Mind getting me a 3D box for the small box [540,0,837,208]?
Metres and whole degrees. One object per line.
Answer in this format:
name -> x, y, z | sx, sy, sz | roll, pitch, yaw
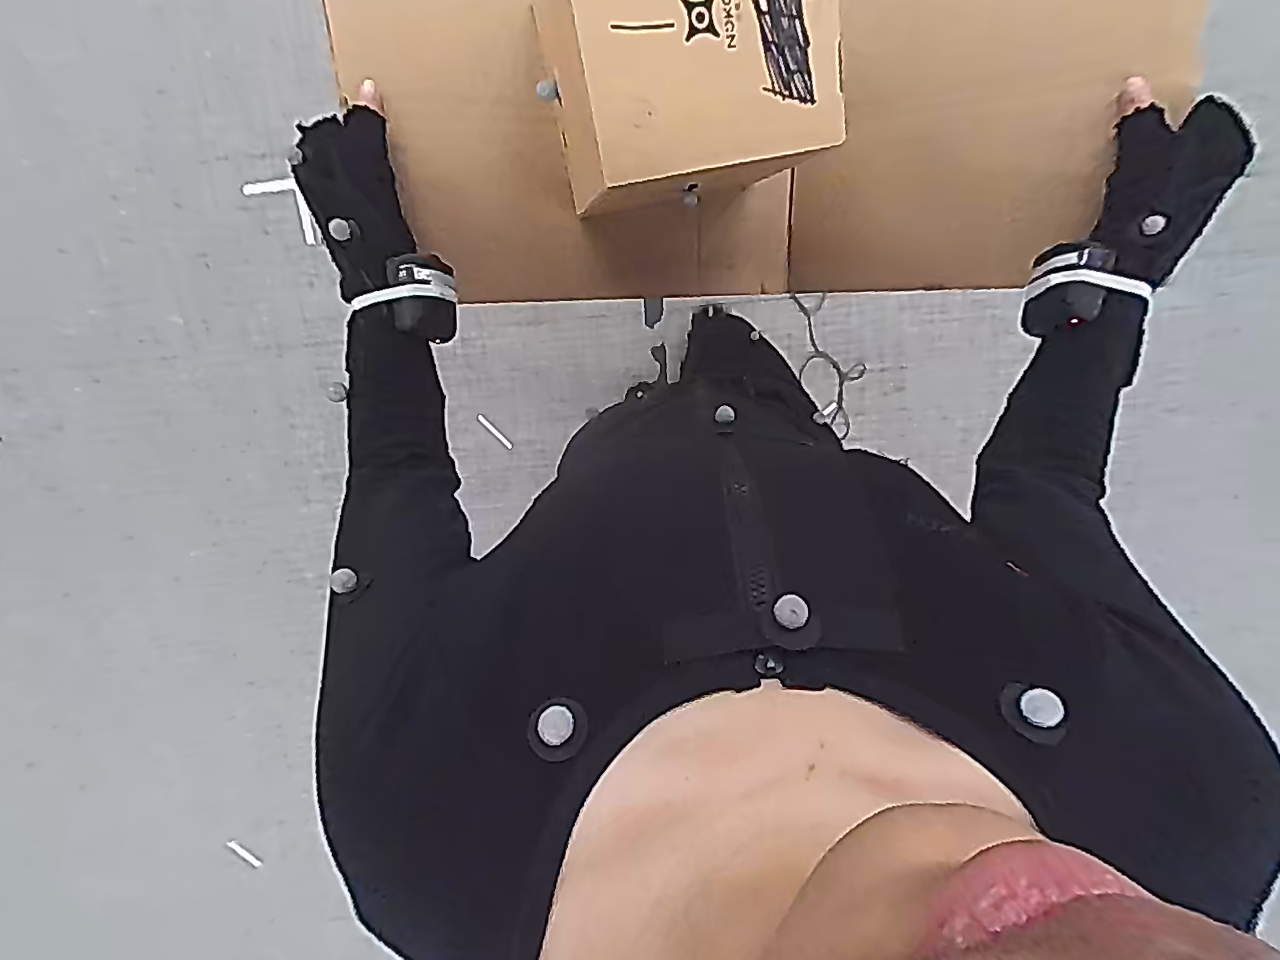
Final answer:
small box -> 0.028, -0.323, 0.420 | 0.179, 0.176, 0.168 | -14, 111, -7
